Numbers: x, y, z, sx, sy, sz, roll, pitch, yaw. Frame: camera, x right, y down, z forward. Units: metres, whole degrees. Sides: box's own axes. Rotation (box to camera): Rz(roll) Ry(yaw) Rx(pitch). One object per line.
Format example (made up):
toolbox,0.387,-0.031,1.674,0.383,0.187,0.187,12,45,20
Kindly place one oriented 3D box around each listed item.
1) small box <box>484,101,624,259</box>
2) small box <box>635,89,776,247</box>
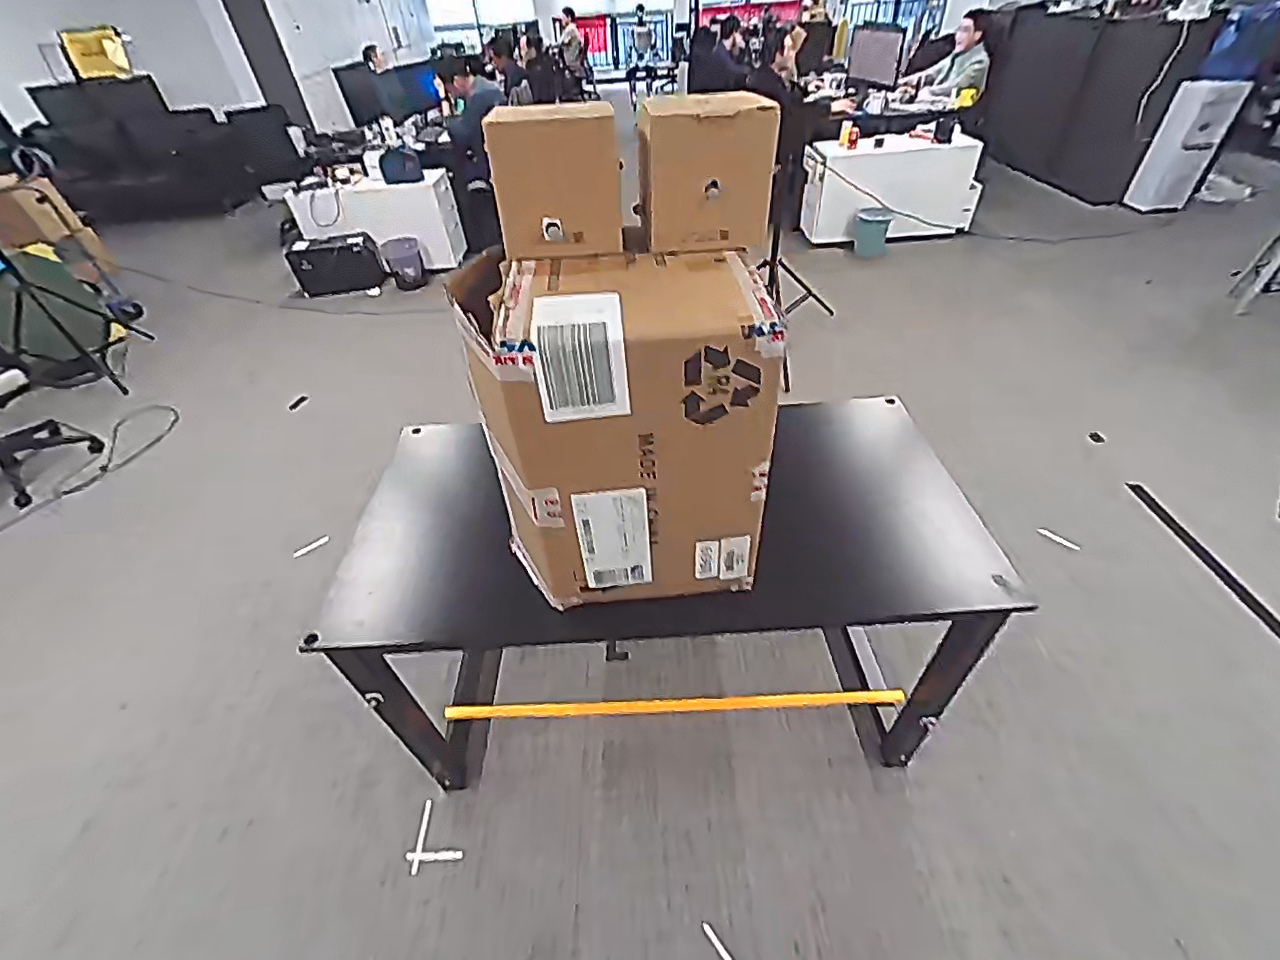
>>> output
small box,-0.115,-0.431,0.776,0.168,0.176,0.179,-7,40,-3
small box,0.084,-0.445,0.778,0.168,0.176,0.179,-4,42,-4
